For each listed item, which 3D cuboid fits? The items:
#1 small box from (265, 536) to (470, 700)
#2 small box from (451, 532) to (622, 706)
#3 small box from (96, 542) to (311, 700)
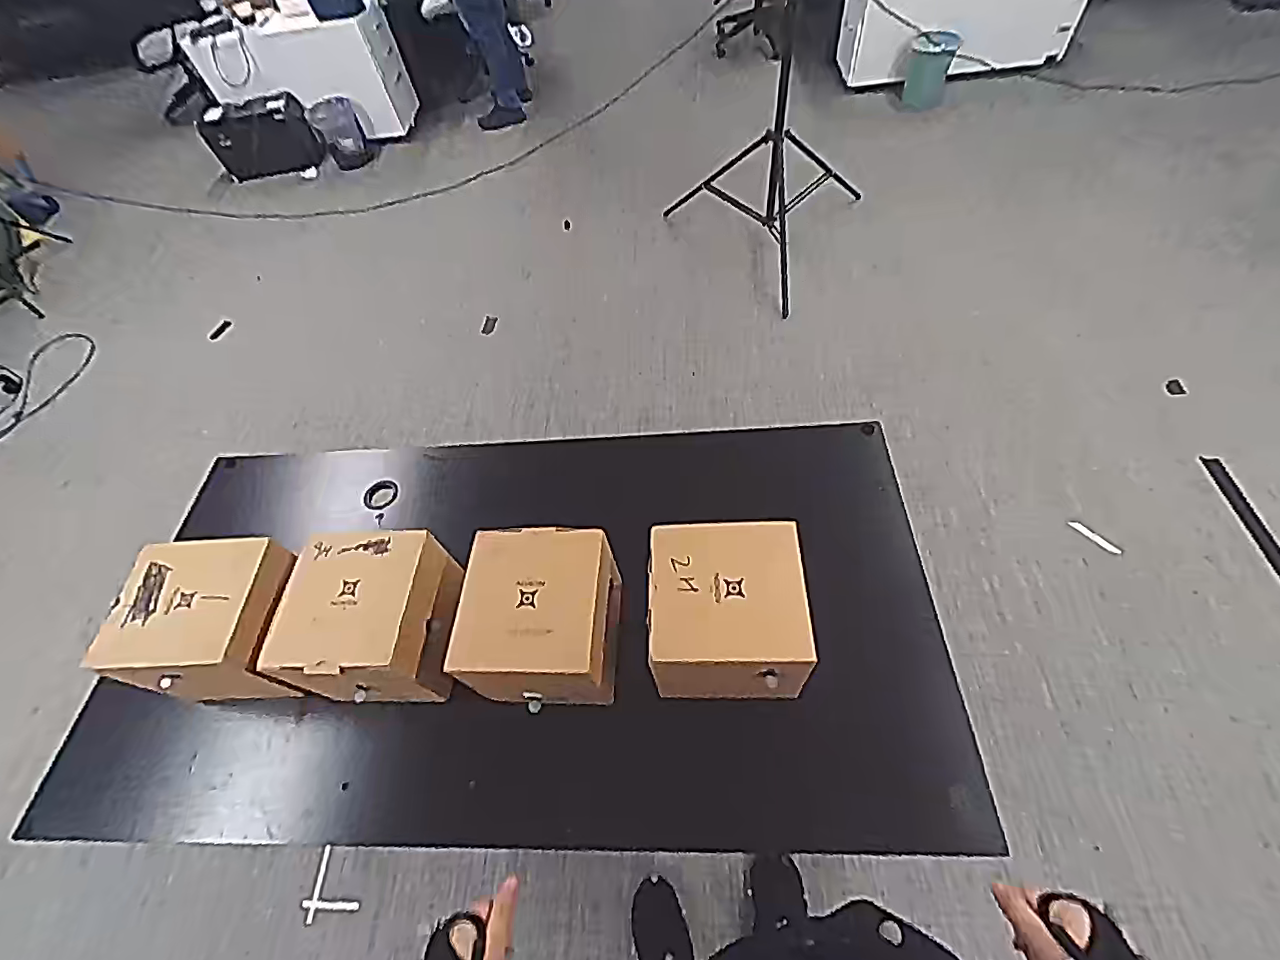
[{"bbox_3d":[-0.343,0.191,0.728,0.168,0.176,0.179,-2,57,6],"label":"small box"},{"bbox_3d":[-0.118,0.184,0.705,0.168,0.176,0.179,-3,57,7],"label":"small box"},{"bbox_3d":[-0.557,0.200,0.748,0.179,0.176,0.168,-4,56,4],"label":"small box"}]
